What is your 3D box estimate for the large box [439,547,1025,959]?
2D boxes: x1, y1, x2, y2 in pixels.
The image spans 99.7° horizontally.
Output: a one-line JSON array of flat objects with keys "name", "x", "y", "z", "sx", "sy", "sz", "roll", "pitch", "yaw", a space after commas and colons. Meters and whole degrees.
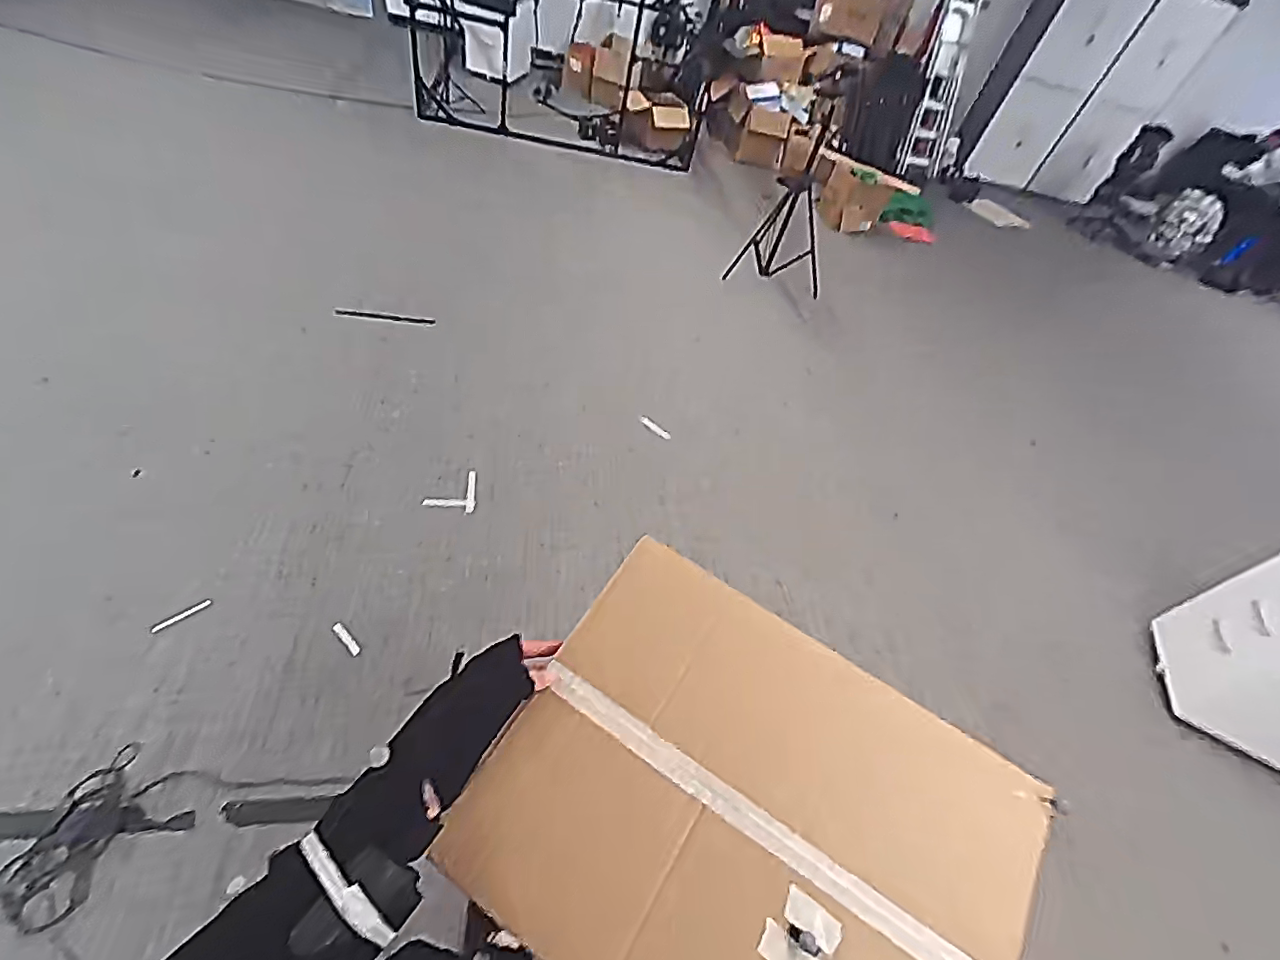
[{"name": "large box", "x": 0.076, "y": 0.344, "z": 0.570, "sx": 0.408, "sy": 0.320, "sz": 0.320, "roll": 31, "pitch": 63, "yaw": 13}]
